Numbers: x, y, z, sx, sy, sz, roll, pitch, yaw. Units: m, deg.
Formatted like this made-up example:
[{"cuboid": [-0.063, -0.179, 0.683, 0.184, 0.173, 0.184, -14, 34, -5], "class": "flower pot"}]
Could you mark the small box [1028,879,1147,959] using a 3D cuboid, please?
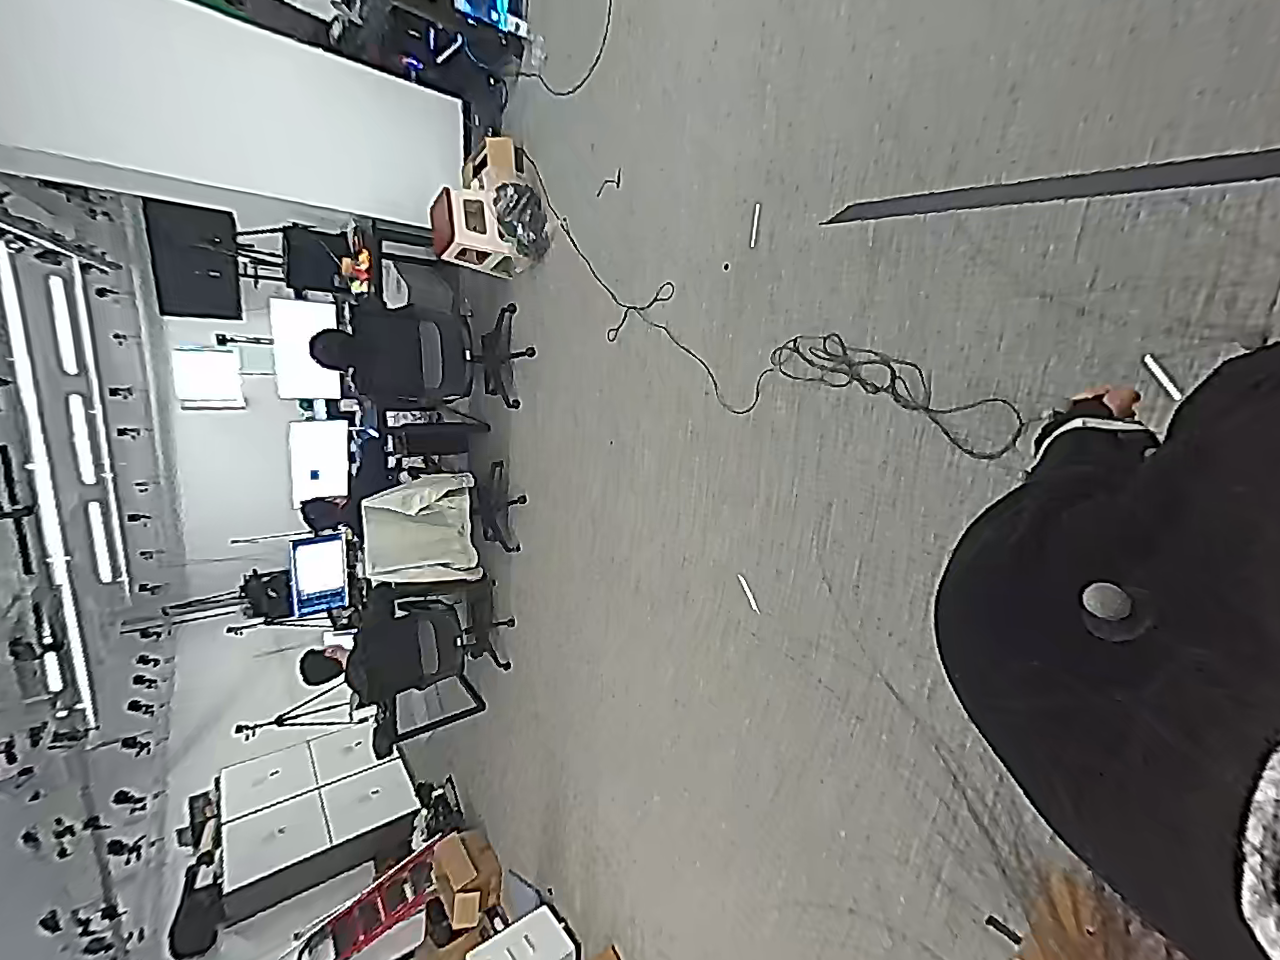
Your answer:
[{"cuboid": [1.014, 1.065, 1.237, 0.179, 0.176, 0.168, 15, 107, 49], "class": "small box"}]

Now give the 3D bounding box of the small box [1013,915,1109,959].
[{"cuboid": [0.890, 1.078, 1.129, 0.179, 0.176, 0.168, 19, 109, 49], "class": "small box"}]
